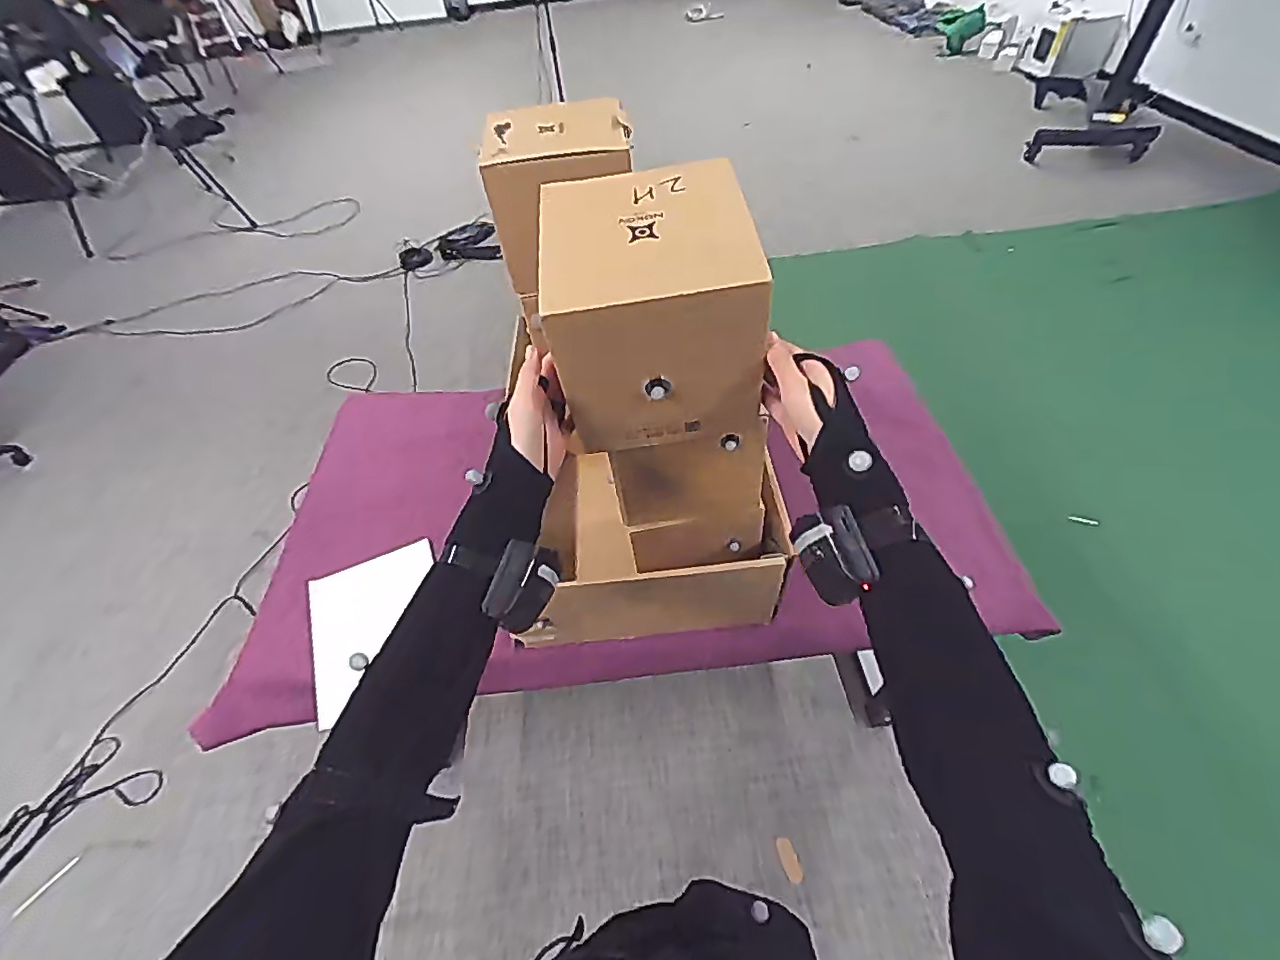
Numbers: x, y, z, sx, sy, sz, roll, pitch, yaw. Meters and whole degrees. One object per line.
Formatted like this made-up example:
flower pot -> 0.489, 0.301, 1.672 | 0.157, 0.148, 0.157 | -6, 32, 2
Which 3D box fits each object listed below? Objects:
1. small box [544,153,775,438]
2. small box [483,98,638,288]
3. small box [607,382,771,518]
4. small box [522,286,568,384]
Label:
small box -> 0.016, -0.152, 0.483 | 0.168, 0.176, 0.179 | -7, 56, 2
small box -> -0.093, -0.377, 0.721 | 0.179, 0.176, 0.168 | -6, 51, -1
small box -> 0.050, -0.067, 0.659 | 0.179, 0.176, 0.168 | -6, 49, 1
small box -> -0.079, -0.273, 0.847 | 0.179, 0.176, 0.168 | -8, 51, -1
